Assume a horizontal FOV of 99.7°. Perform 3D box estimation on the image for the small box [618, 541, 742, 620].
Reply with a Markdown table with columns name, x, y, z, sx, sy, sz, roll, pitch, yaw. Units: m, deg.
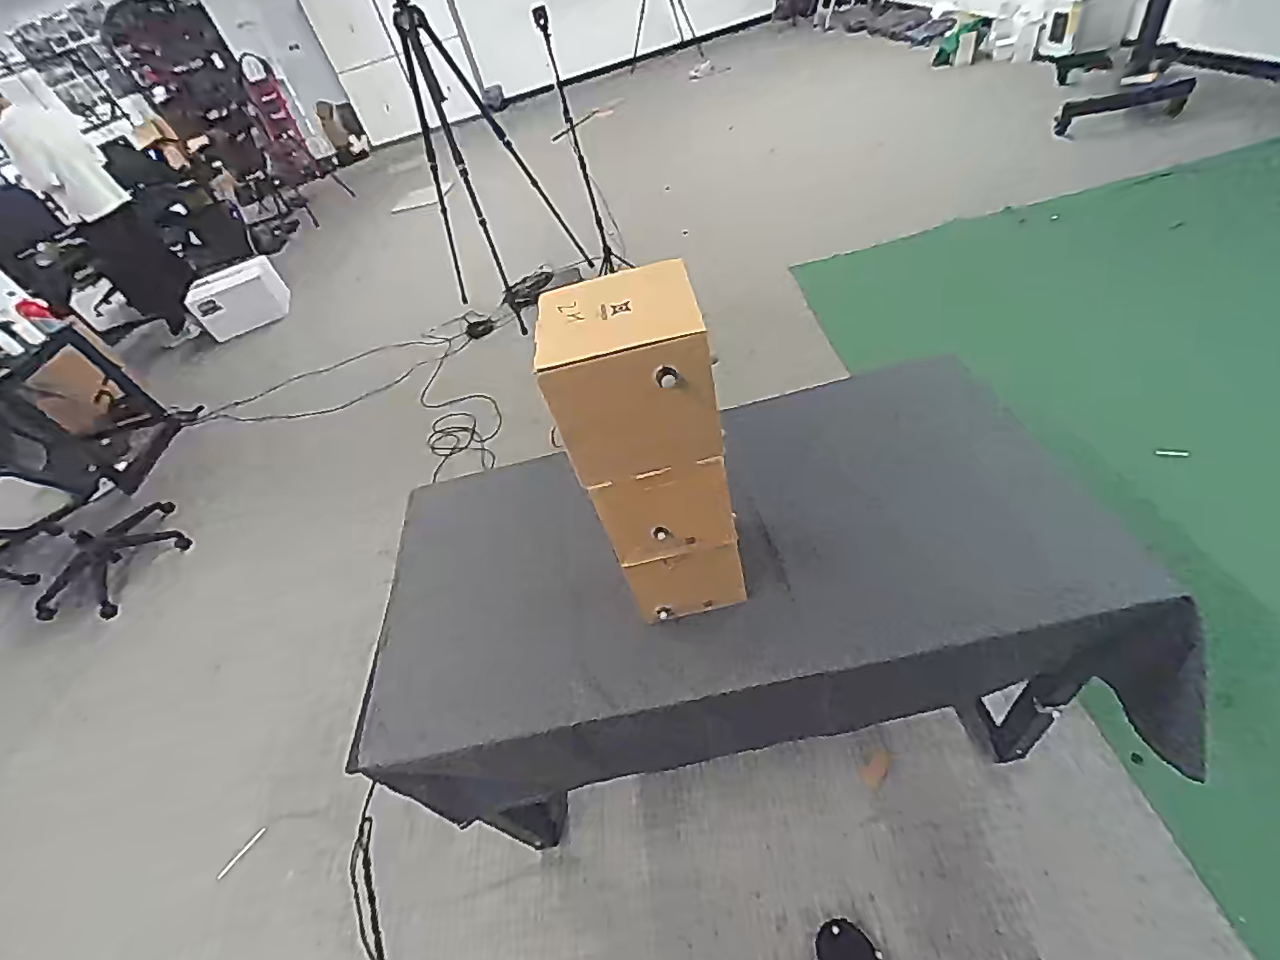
| name | x | y | z | sx | sy | sz | roll | pitch | yaw |
| --- | --- | --- | --- | --- | --- | --- | --- | --- | --- |
| small box | 0.059 | 0.105 | 0.868 | 0.168 | 0.176 | 0.179 | -14 | 43 | 5 |

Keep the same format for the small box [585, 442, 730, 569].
| name | x | y | z | sx | sy | sz | roll | pitch | yaw |
| --- | --- | --- | --- | --- | --- | --- | --- | --- | --- |
| small box | 0.022 | -0.004 | 0.755 | 0.168 | 0.176 | 0.179 | -14 | 45 | 5 |

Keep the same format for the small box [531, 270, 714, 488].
| name | x | y | z | sx | sy | sz | roll | pitch | yaw |
| --- | --- | --- | --- | --- | --- | --- | --- | --- | --- |
| small box | -0.014 | -0.115 | 0.638 | 0.179 | 0.176 | 0.168 | -13 | 44 | 6 |
